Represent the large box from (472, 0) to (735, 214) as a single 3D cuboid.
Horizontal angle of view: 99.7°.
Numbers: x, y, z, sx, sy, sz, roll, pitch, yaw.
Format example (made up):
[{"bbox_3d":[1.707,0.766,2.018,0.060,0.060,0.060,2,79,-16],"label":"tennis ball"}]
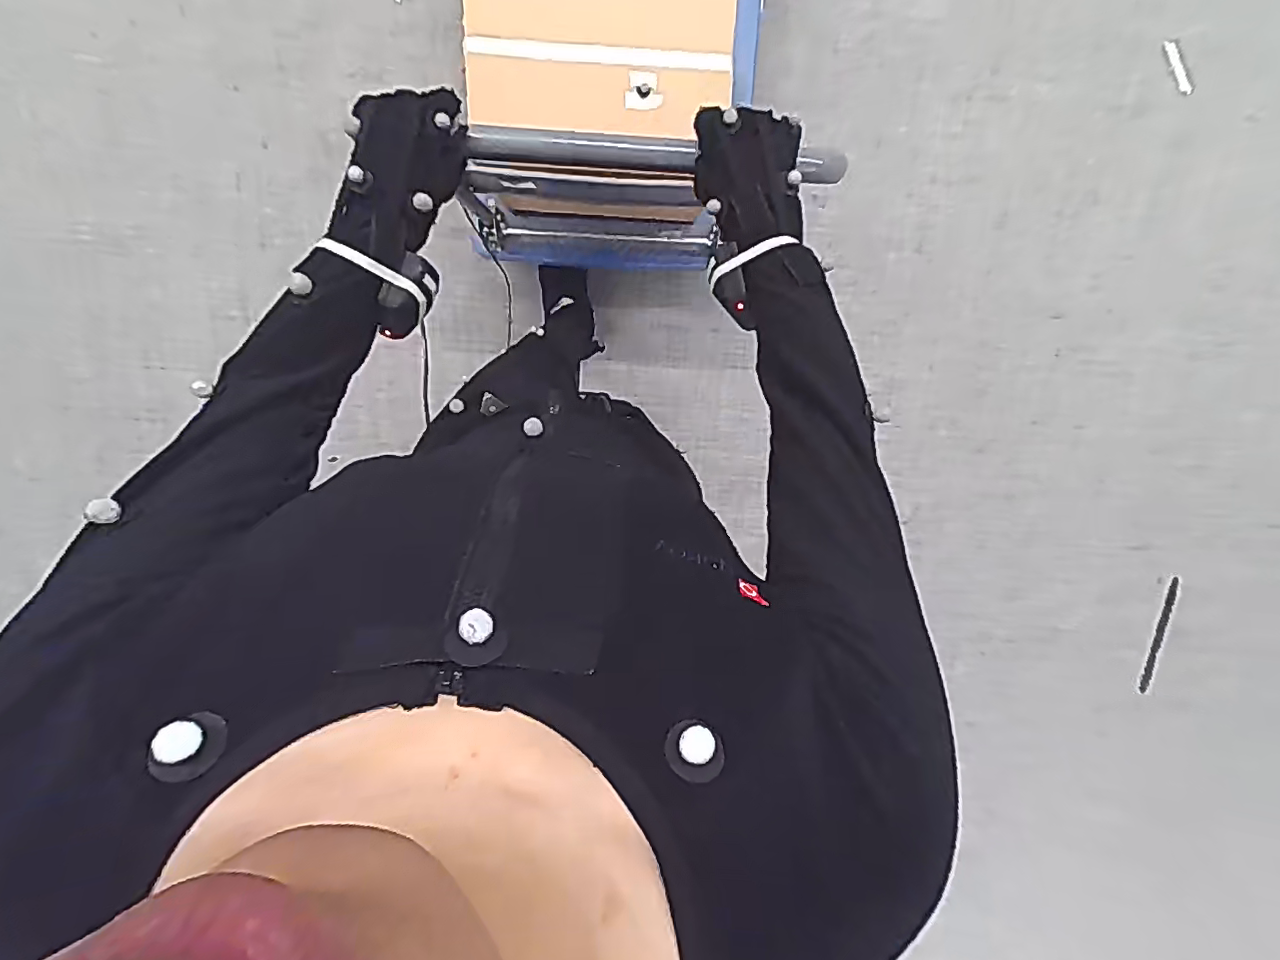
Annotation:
[{"bbox_3d":[-0.067,-0.689,0.975,0.408,0.320,0.320,1,104,-4],"label":"large box"}]
